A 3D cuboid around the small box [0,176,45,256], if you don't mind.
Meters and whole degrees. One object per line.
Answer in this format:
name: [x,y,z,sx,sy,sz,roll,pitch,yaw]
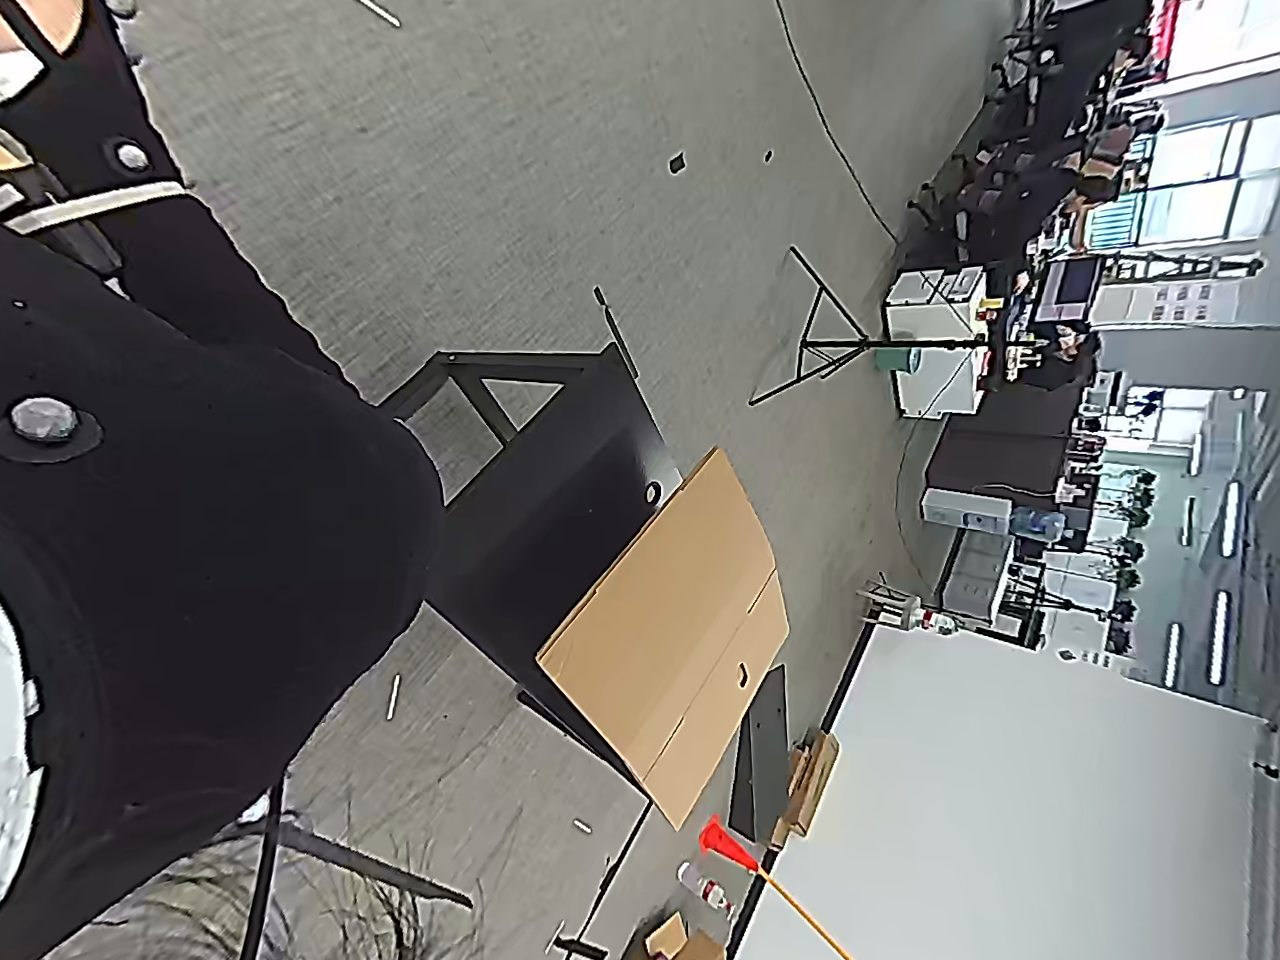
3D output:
small box: [-1.120,-0.437,0.857,0.179,0.176,0.168,-55,134,-24]
